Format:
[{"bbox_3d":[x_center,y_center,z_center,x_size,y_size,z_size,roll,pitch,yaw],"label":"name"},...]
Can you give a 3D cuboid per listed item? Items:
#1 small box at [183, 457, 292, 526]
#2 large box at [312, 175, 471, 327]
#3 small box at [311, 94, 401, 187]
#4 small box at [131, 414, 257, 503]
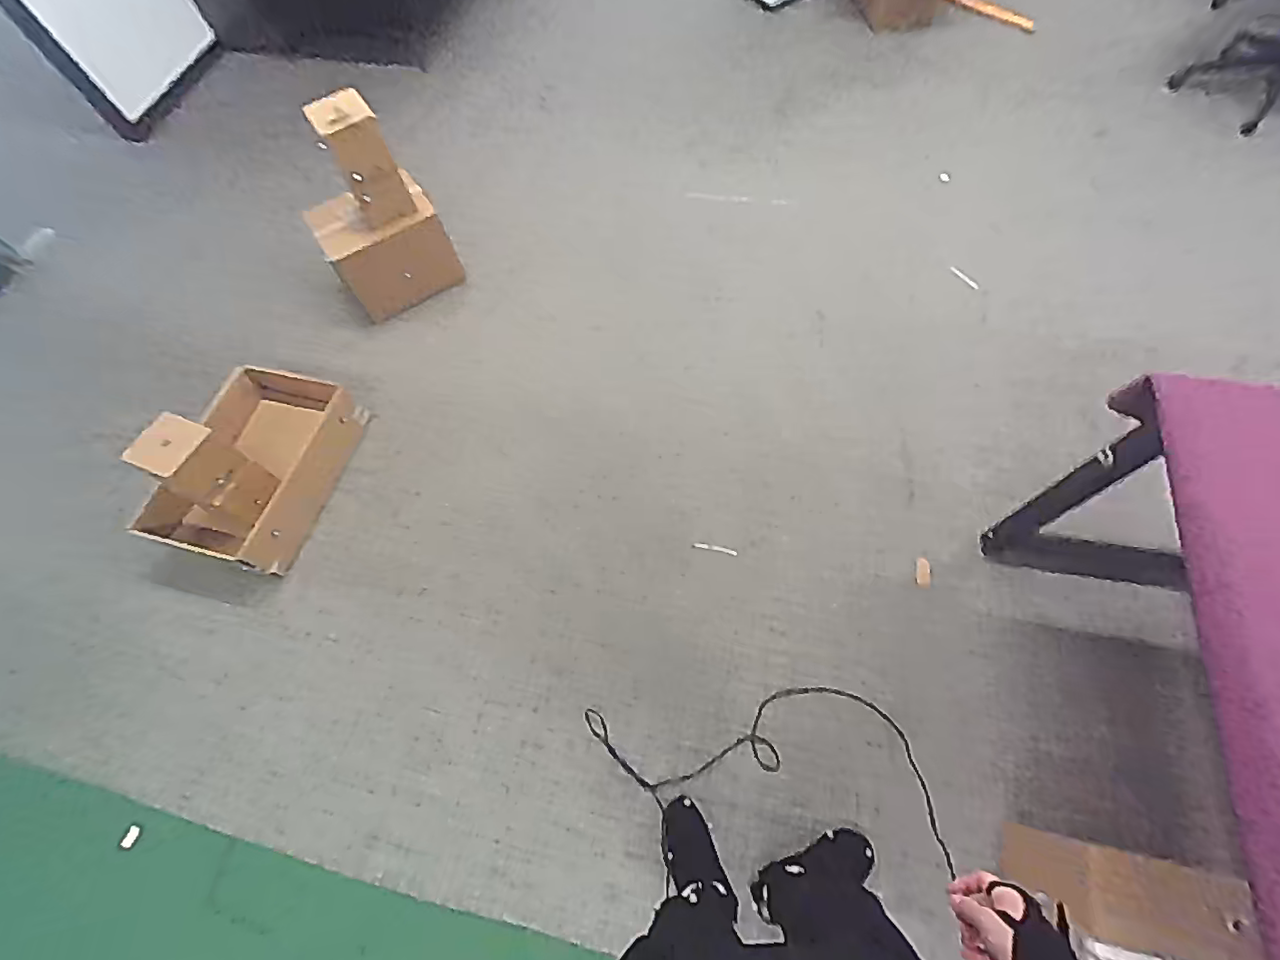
[{"bbox_3d":[-1.245,0.024,1.681,0.179,0.176,0.168,15,63,11],"label":"small box"},{"bbox_3d":[-0.934,-0.870,2.071,0.408,0.320,0.320,-33,65,-10],"label":"large box"},{"bbox_3d":[-0.885,-1.059,1.702,0.168,0.176,0.179,-31,65,-10],"label":"small box"},{"bbox_3d":[-1.260,-0.055,1.539,0.179,0.176,0.168,19,64,13],"label":"small box"}]
